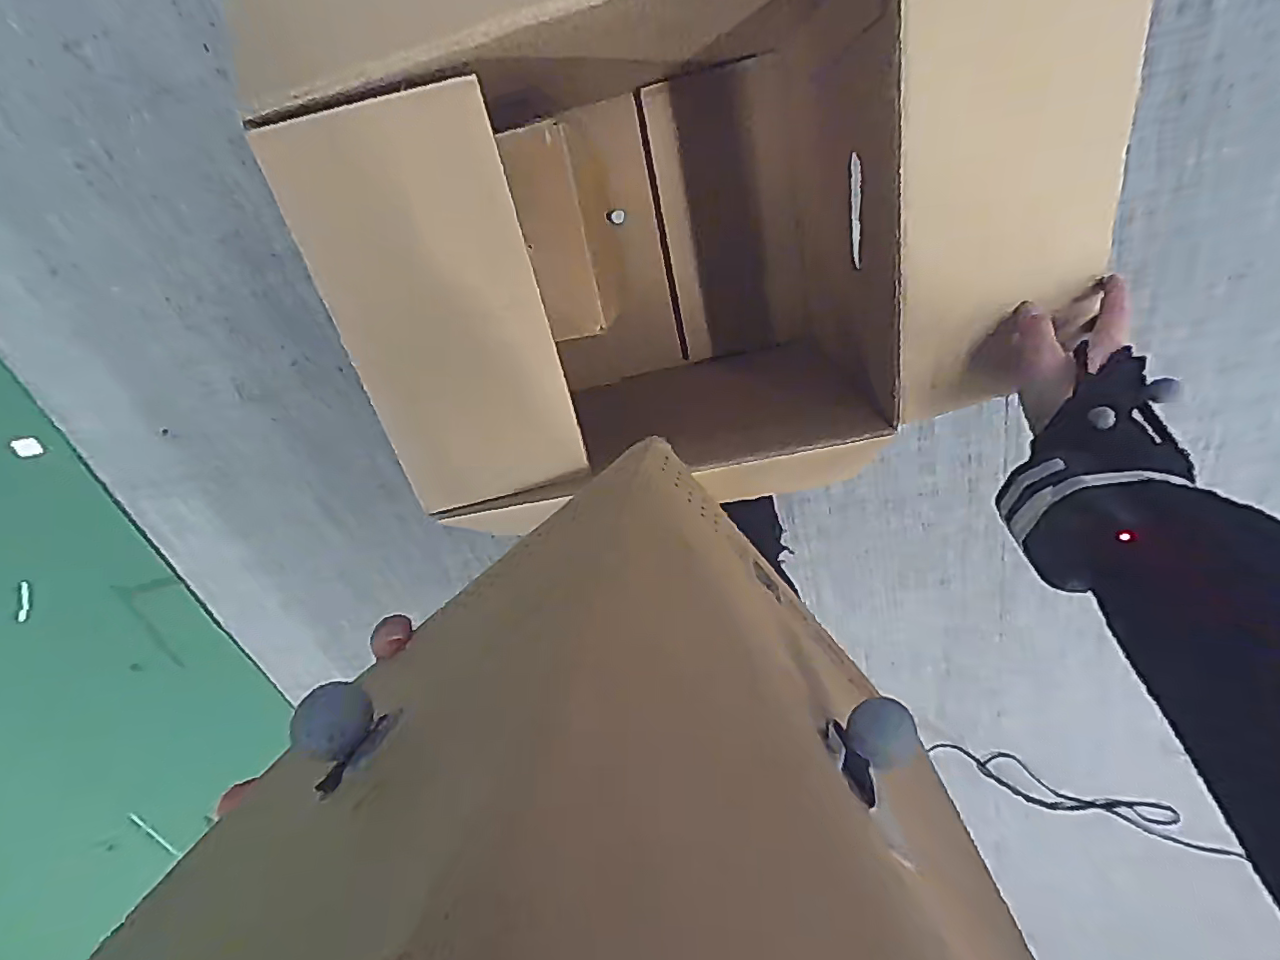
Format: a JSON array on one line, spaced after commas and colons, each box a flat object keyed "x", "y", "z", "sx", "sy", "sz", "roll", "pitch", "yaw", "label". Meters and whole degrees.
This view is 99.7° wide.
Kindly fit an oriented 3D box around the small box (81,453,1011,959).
[{"x": -0.018, "y": 0.116, "z": 0.146, "sx": 0.179, "sy": 0.176, "sz": 0.168, "roll": -39, "pitch": 99, "yaw": 15, "label": "small box"}]
